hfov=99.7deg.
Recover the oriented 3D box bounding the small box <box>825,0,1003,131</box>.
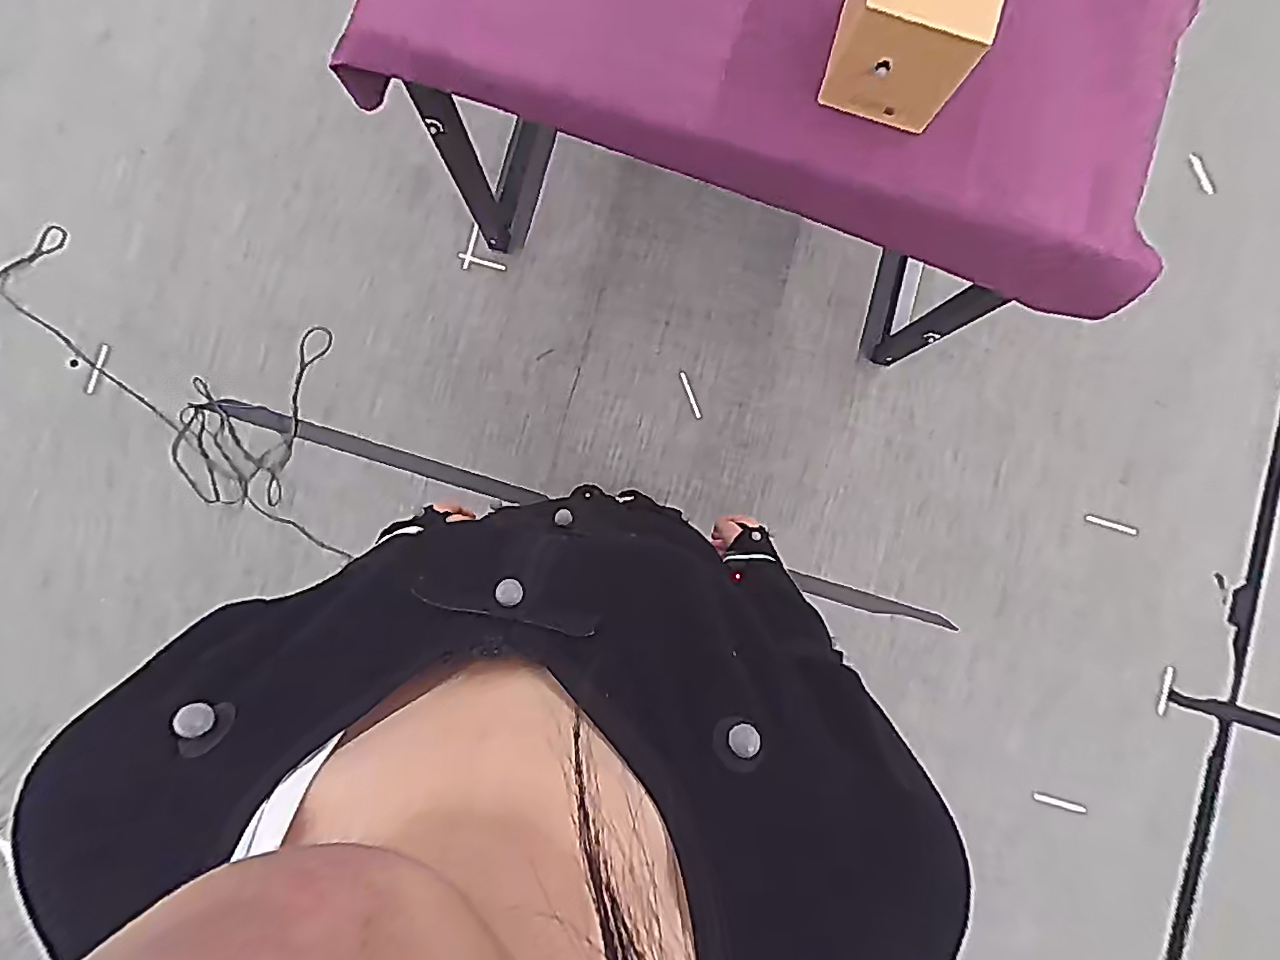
[{"bbox_3d":[0.375,-0.632,0.748,0.168,0.176,0.179,16,86,-1],"label":"small box"}]
